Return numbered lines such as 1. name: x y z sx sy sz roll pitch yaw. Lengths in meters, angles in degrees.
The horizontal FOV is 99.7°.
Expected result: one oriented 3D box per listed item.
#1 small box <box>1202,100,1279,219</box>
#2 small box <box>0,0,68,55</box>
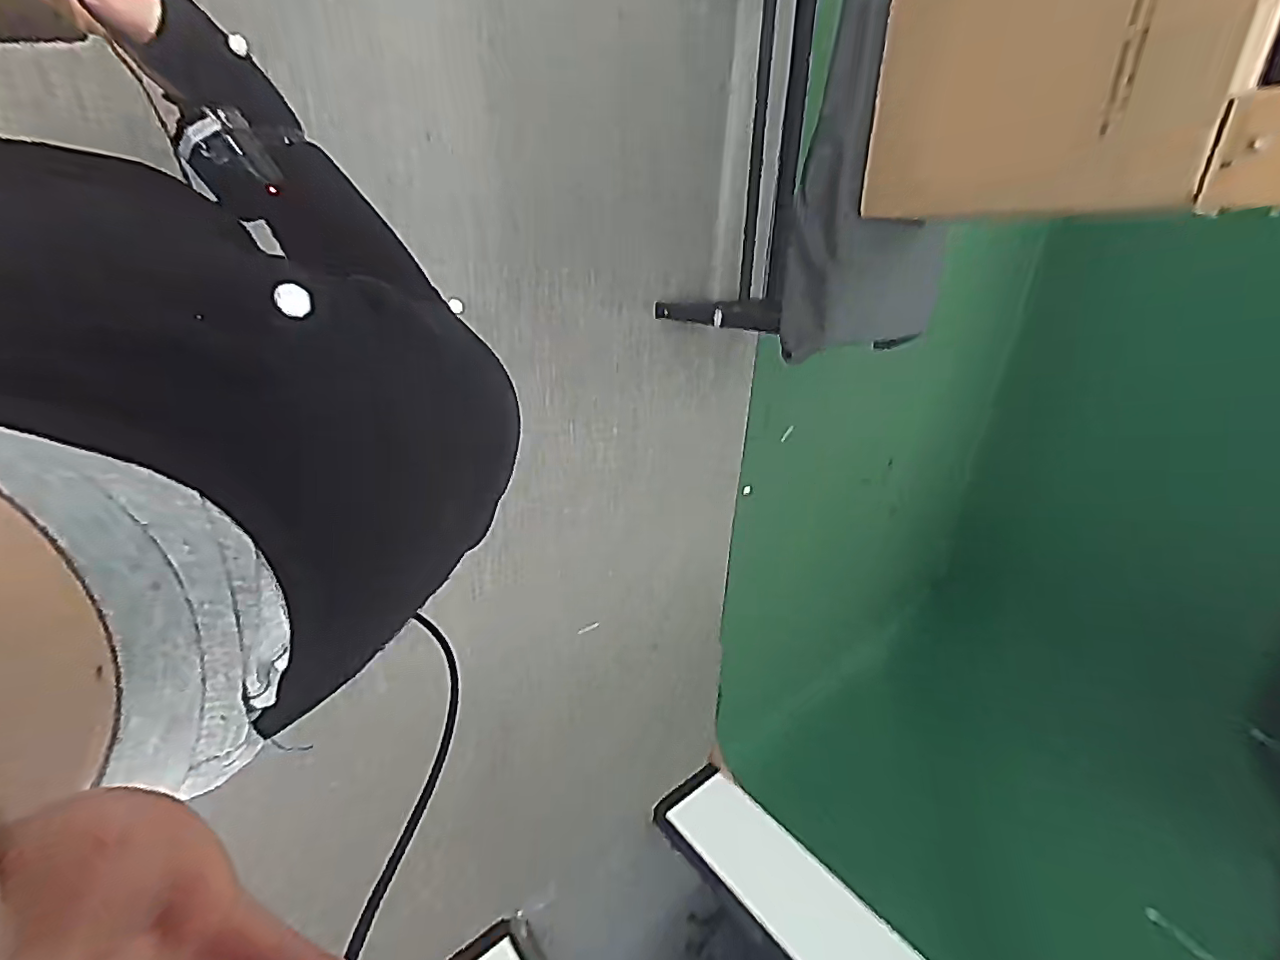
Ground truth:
1. small box: 1.075 -0.520 0.880 0.179 0.176 0.168 -17 120 -34
2. small box: -0.456 -0.332 0.268 0.168 0.176 0.179 -21 122 -22
